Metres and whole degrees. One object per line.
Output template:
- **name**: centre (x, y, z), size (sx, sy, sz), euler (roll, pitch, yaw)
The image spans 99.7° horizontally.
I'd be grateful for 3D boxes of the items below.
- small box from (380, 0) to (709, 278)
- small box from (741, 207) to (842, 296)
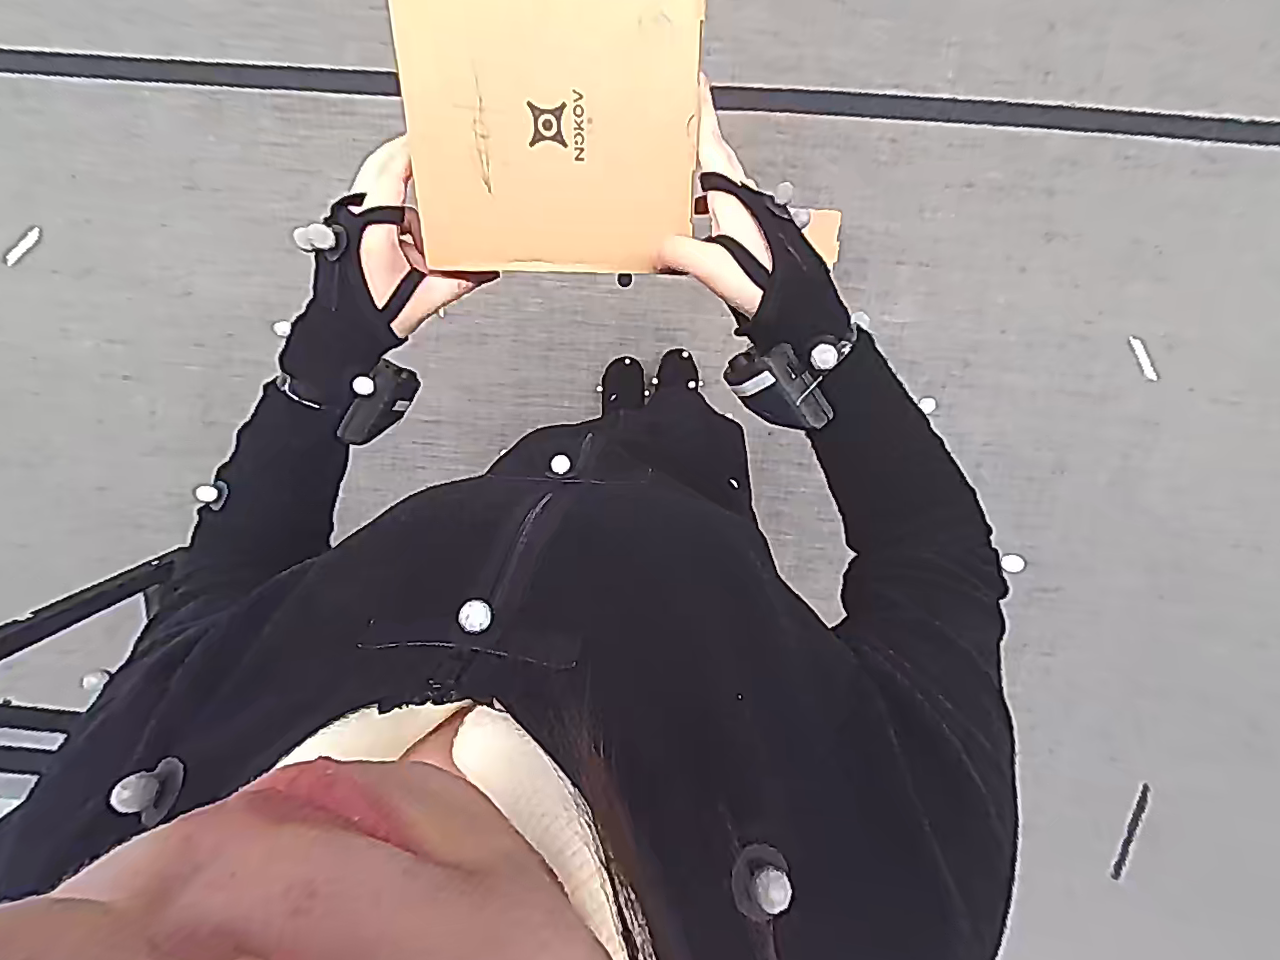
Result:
- **small box**: centre (-0.055, -0.241, 0.382), size (0.179, 0.176, 0.168), euler (1, 115, -3)
- **small box**: centre (0.345, -0.525, 1.263), size (0.179, 0.176, 0.168), euler (4, 105, 0)
